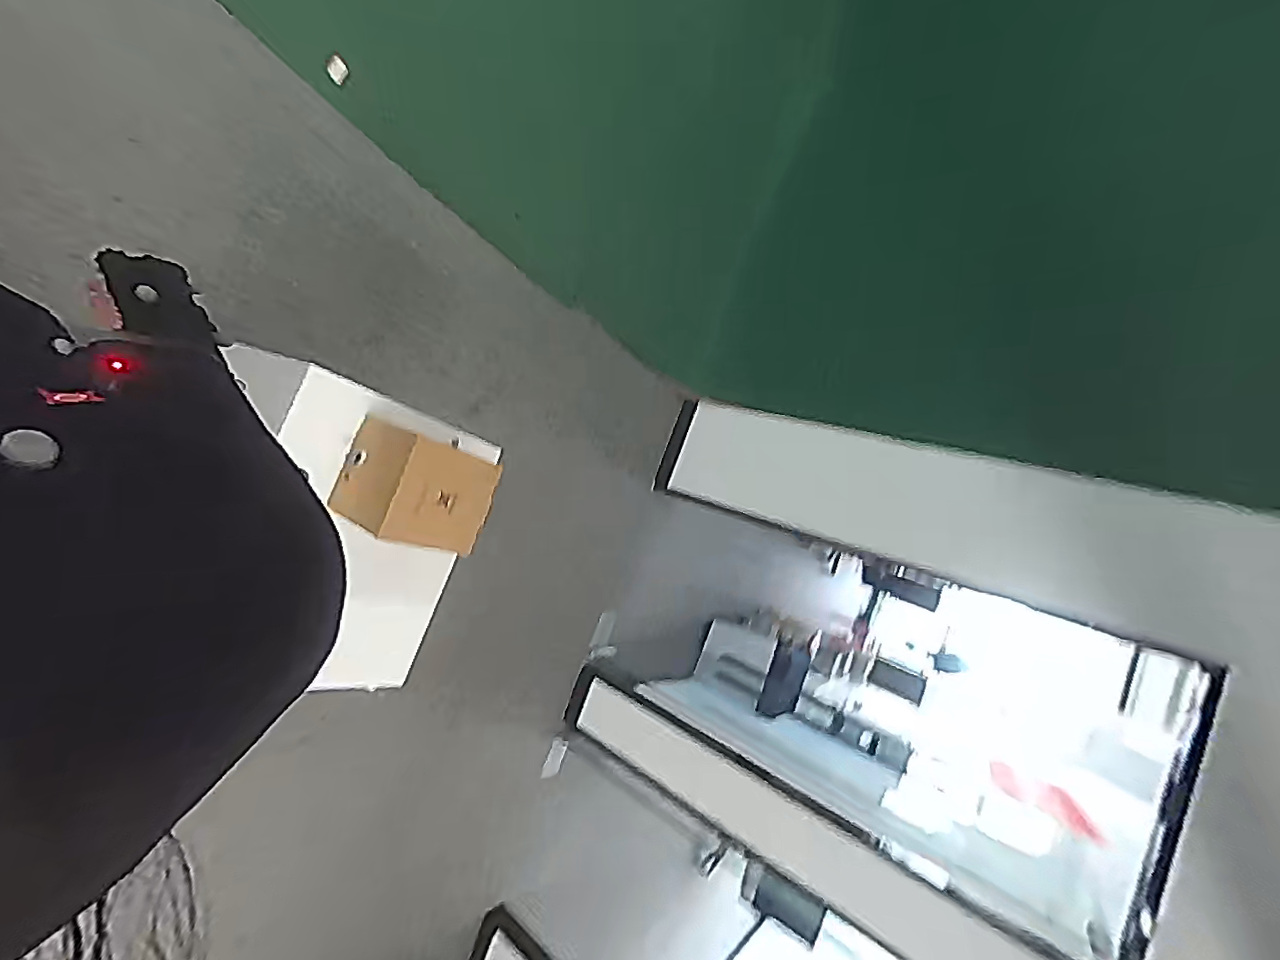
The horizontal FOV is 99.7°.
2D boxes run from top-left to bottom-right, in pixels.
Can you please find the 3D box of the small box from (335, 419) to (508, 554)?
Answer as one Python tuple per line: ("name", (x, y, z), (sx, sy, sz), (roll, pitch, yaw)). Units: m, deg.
("small box", (-0.360, 0.009, 0.896), (0.179, 0.176, 0.168), (25, 84, -54))
